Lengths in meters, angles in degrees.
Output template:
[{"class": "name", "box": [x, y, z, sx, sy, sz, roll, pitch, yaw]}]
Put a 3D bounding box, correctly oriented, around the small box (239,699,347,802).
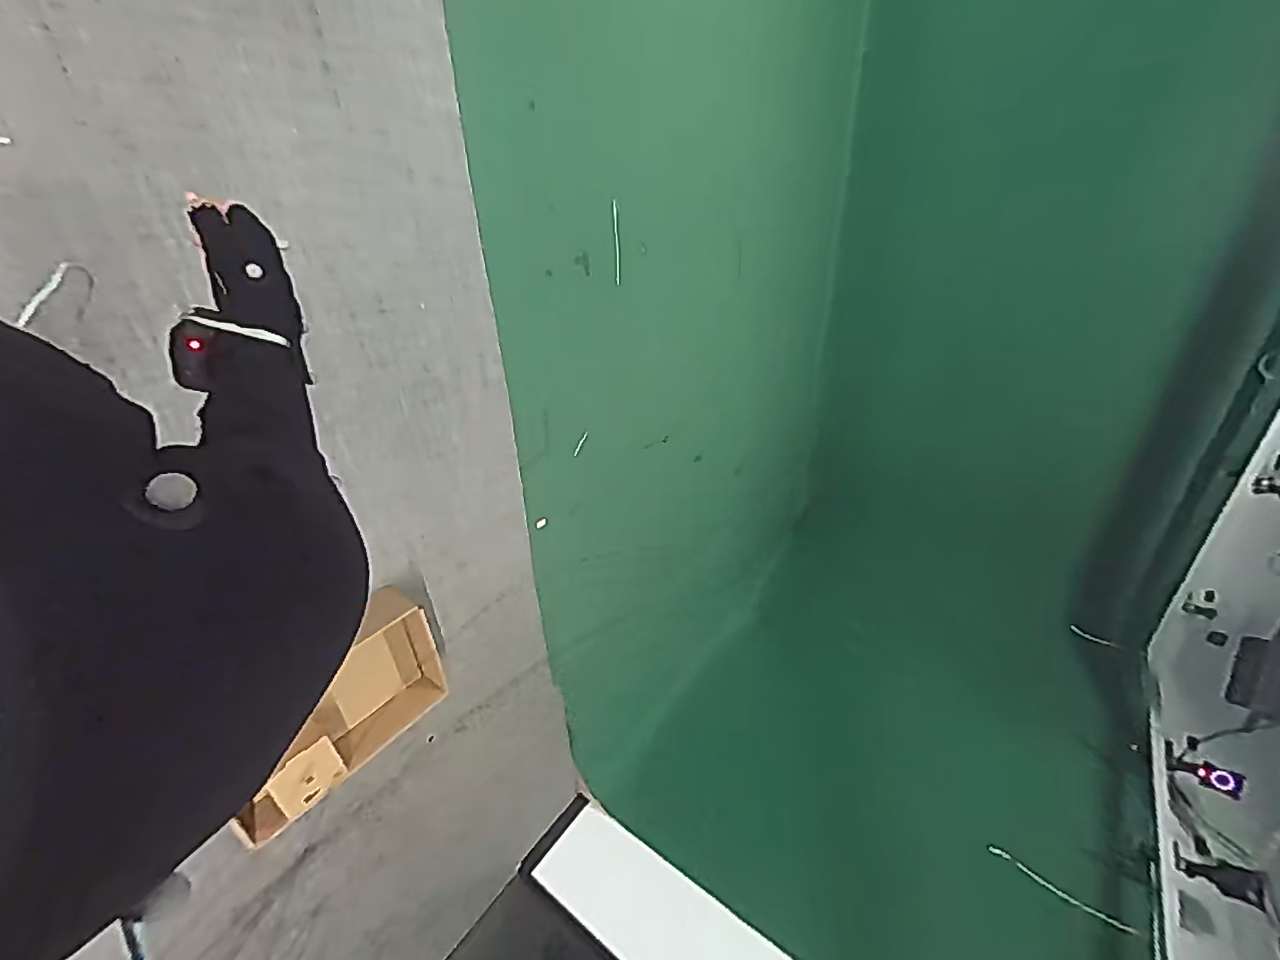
[{"class": "small box", "box": [-0.969, 0.743, 1.507, 0.168, 0.176, 0.179, -41, 138, -41]}]
